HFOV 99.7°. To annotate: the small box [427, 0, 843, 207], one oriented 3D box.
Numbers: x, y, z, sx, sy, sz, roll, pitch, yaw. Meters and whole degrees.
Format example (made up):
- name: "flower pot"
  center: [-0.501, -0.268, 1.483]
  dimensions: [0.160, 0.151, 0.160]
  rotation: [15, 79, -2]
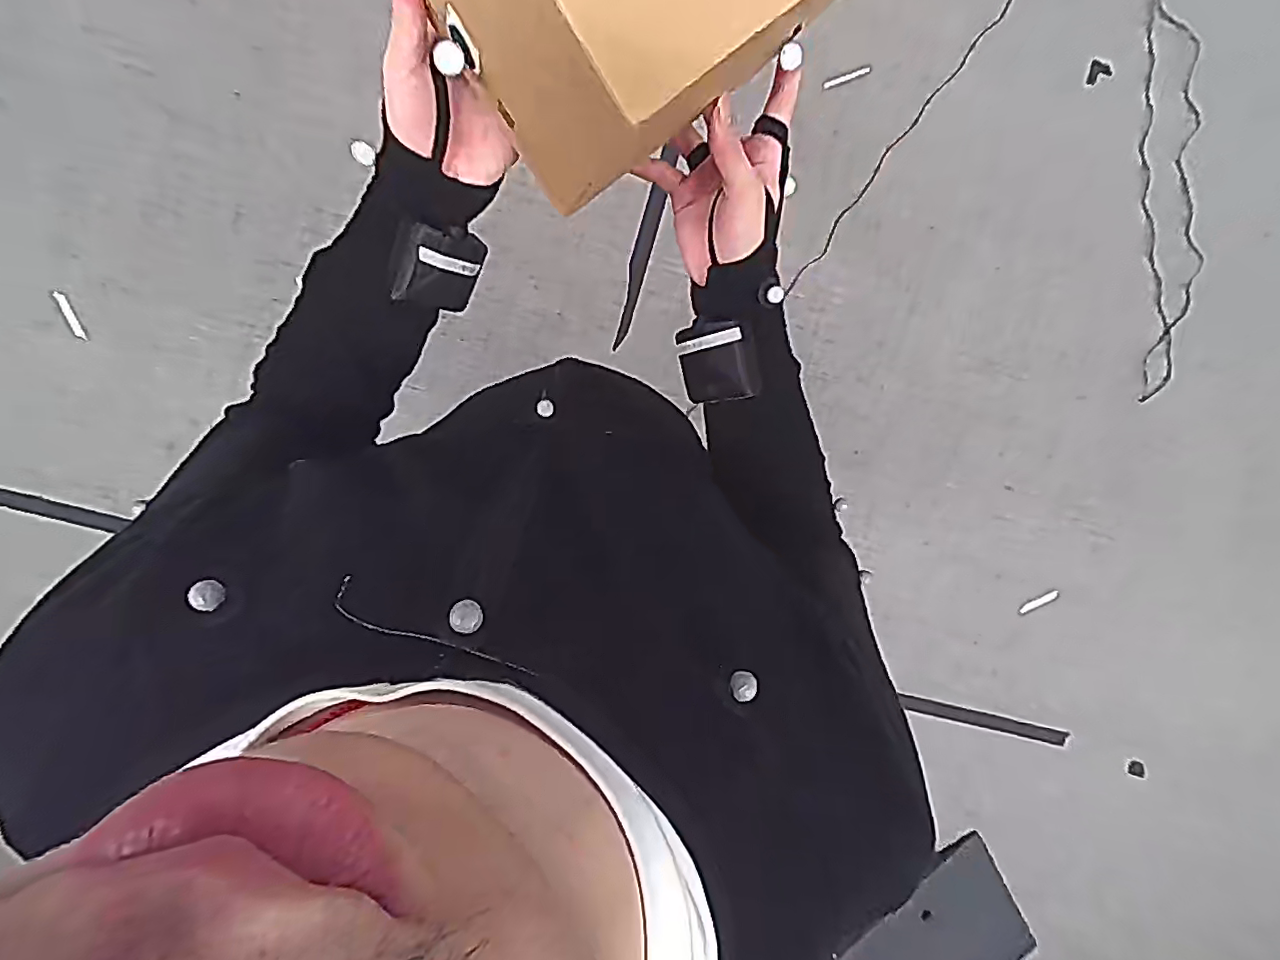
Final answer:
- name: "small box"
  center: [-0.002, -0.273, 0.268]
  dimensions: [0.179, 0.176, 0.168]
  rotation: [-39, 111, -4]
